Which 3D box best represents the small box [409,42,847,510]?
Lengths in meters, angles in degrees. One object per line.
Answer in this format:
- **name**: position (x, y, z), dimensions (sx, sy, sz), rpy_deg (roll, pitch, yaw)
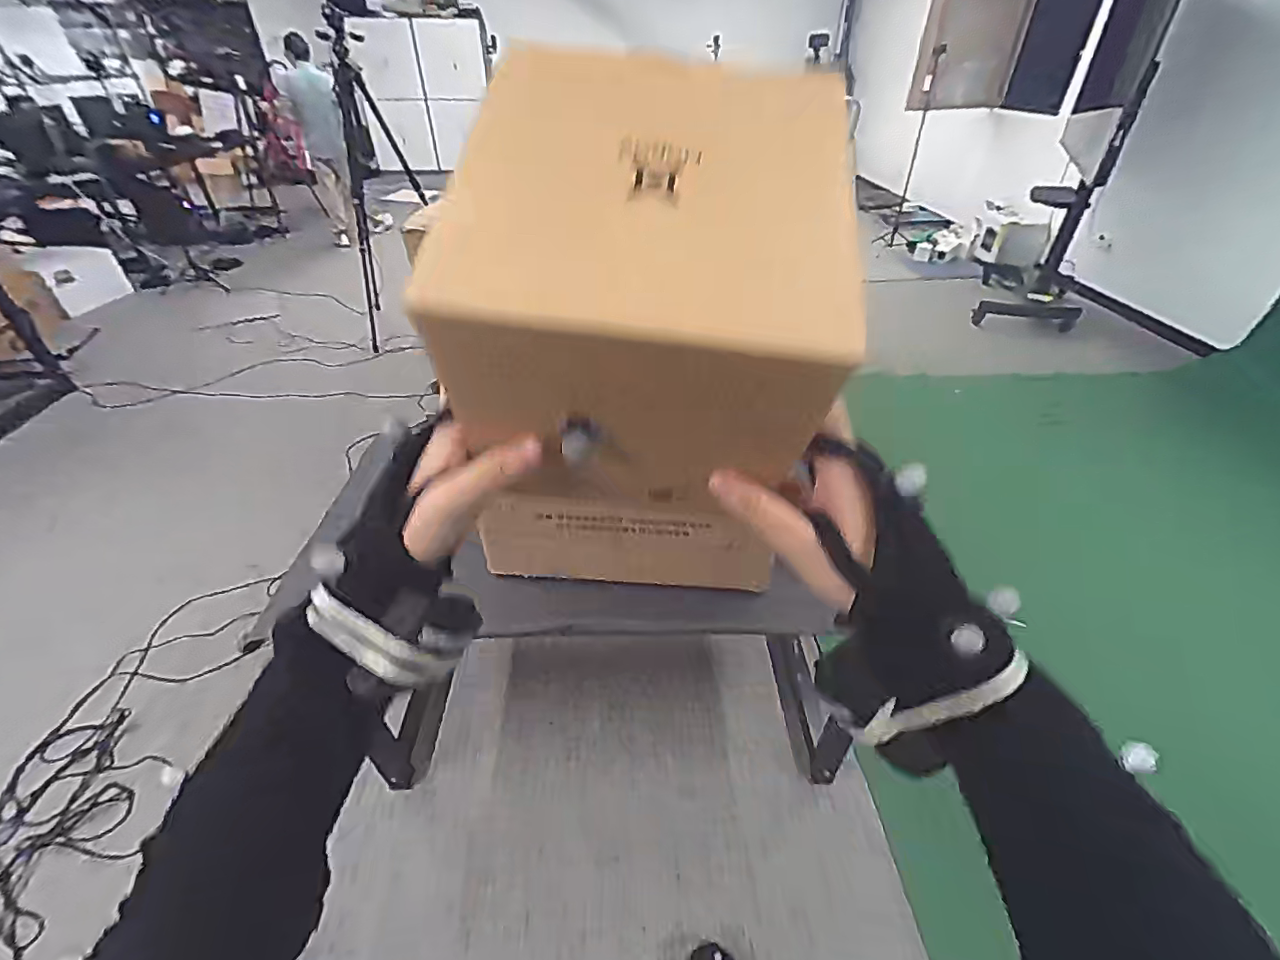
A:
- **small box**: position (0.002, -0.096, 0.303), dimensions (0.168, 0.176, 0.179), rpy_deg (7, 64, 0)
